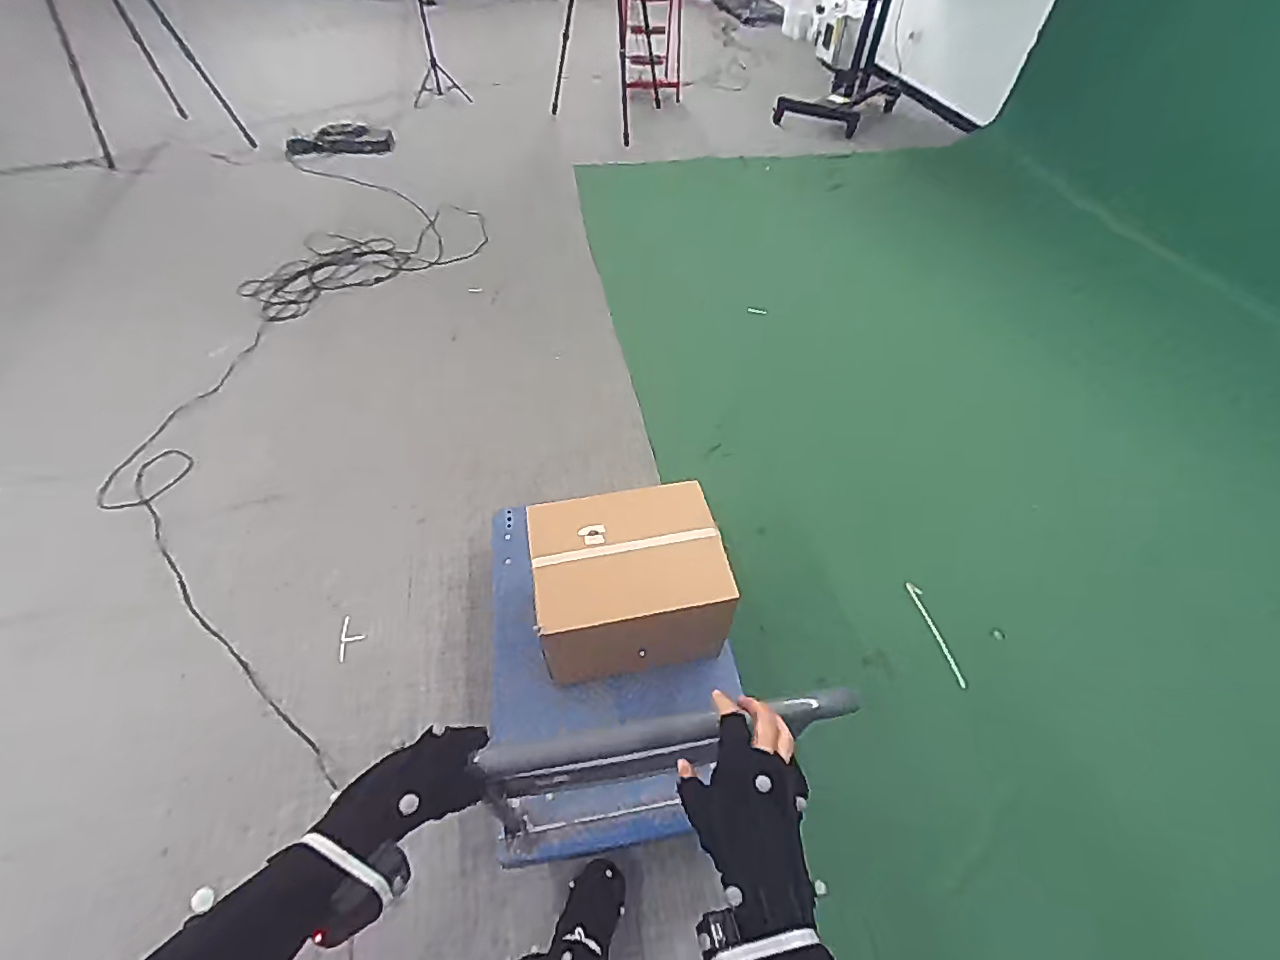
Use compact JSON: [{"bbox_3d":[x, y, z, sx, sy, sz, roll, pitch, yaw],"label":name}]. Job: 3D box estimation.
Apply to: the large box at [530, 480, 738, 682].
[{"bbox_3d":[-0.023,0.242,1.283,0.408,0.320,0.320,-10,52,-8],"label":"large box"}]
